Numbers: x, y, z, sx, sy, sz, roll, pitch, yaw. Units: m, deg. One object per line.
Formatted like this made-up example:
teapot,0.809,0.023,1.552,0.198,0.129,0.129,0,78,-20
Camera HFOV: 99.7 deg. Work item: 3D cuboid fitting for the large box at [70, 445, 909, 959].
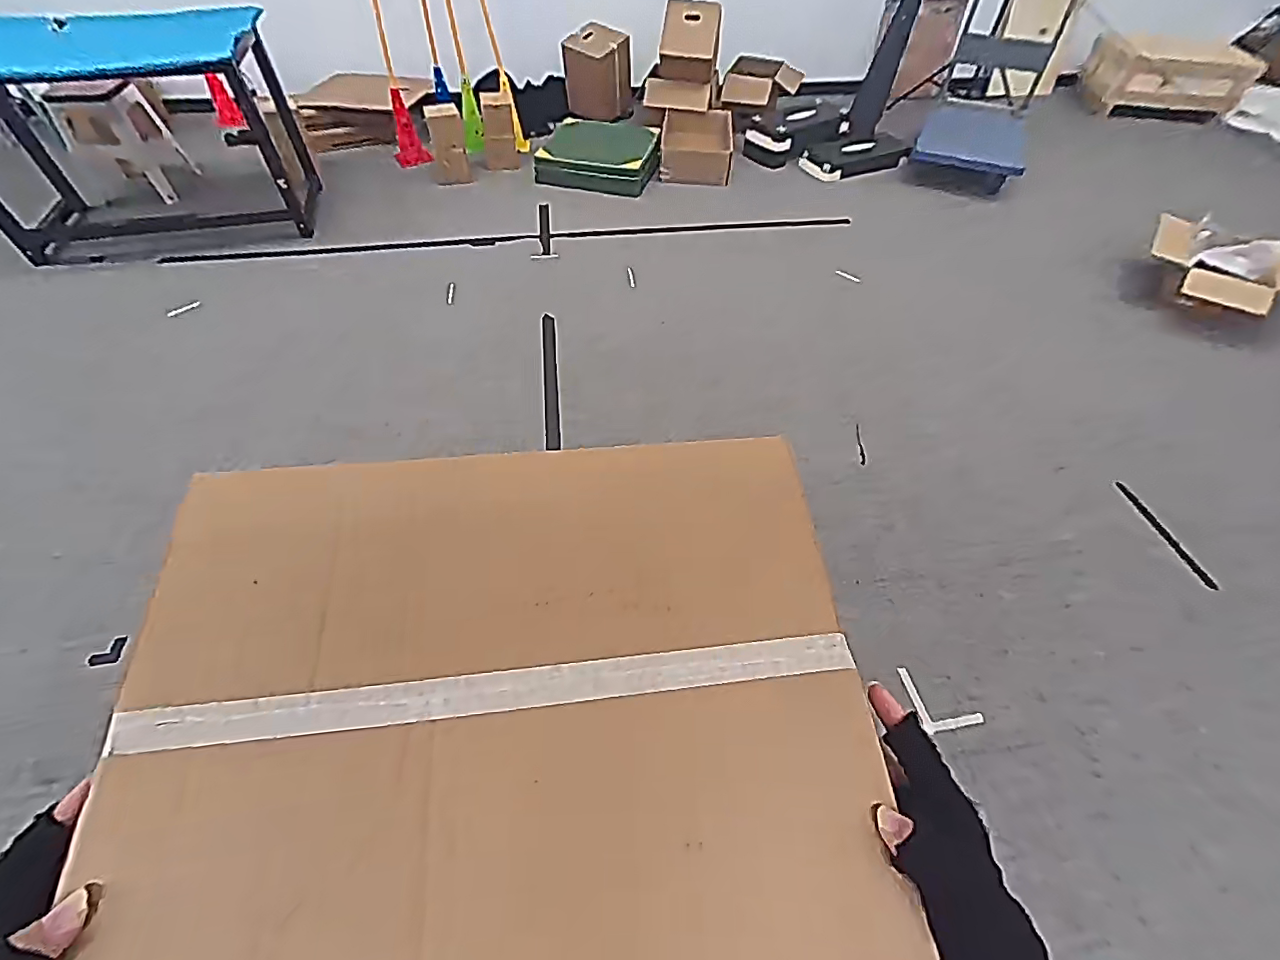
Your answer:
large box,-0.085,0.194,0.446,0.408,0.320,0.320,-4,61,-6
